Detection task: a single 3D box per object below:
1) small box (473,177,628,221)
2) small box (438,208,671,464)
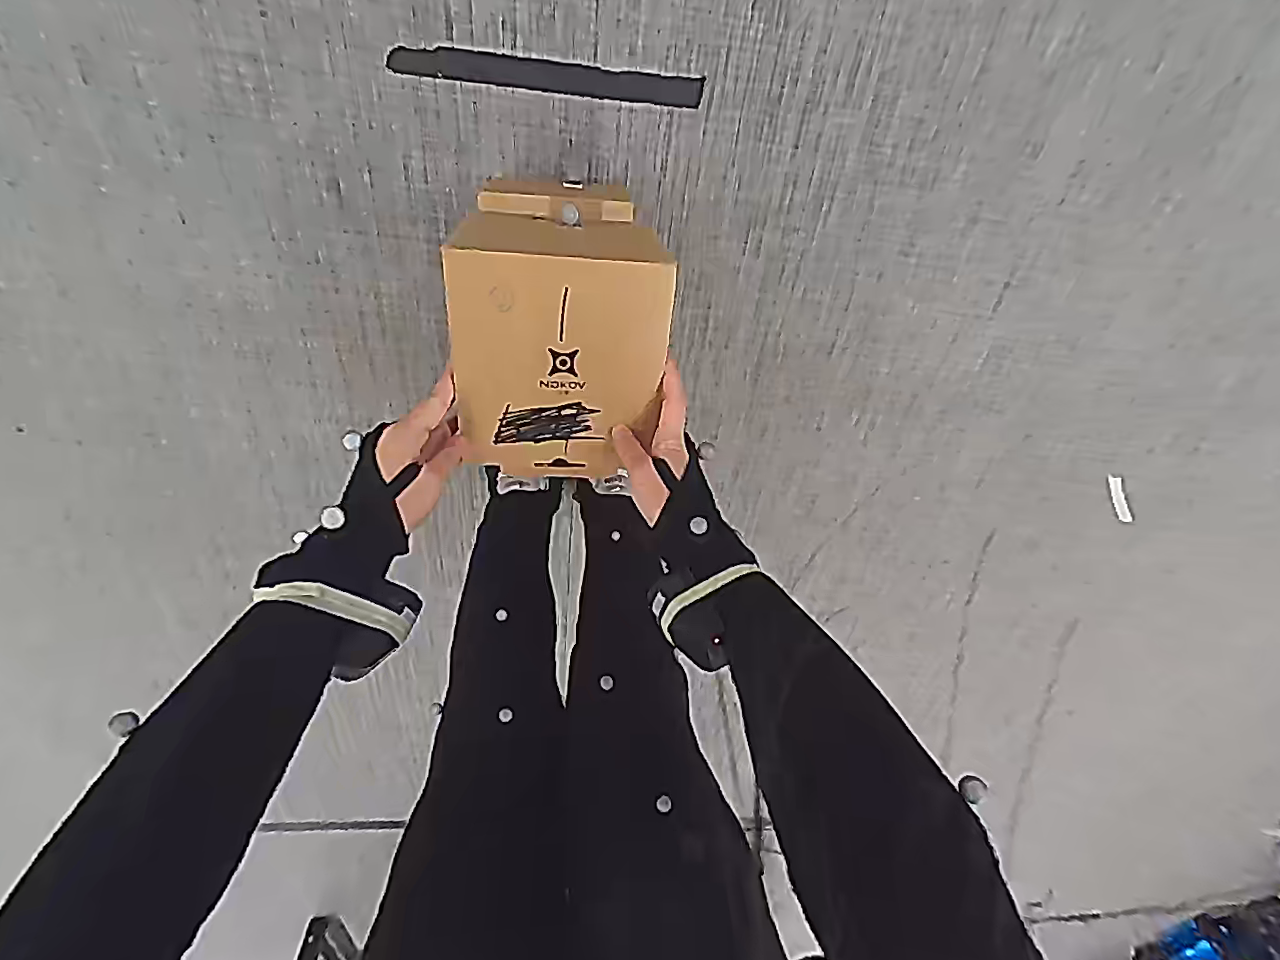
[{"bbox_3d":[-0.105,-0.269,0.679,0.168,0.176,0.179,0,123,-6],"label":"small box"},{"bbox_3d":[-0.075,-0.132,0.491,0.168,0.176,0.179,0,124,-9],"label":"small box"}]
